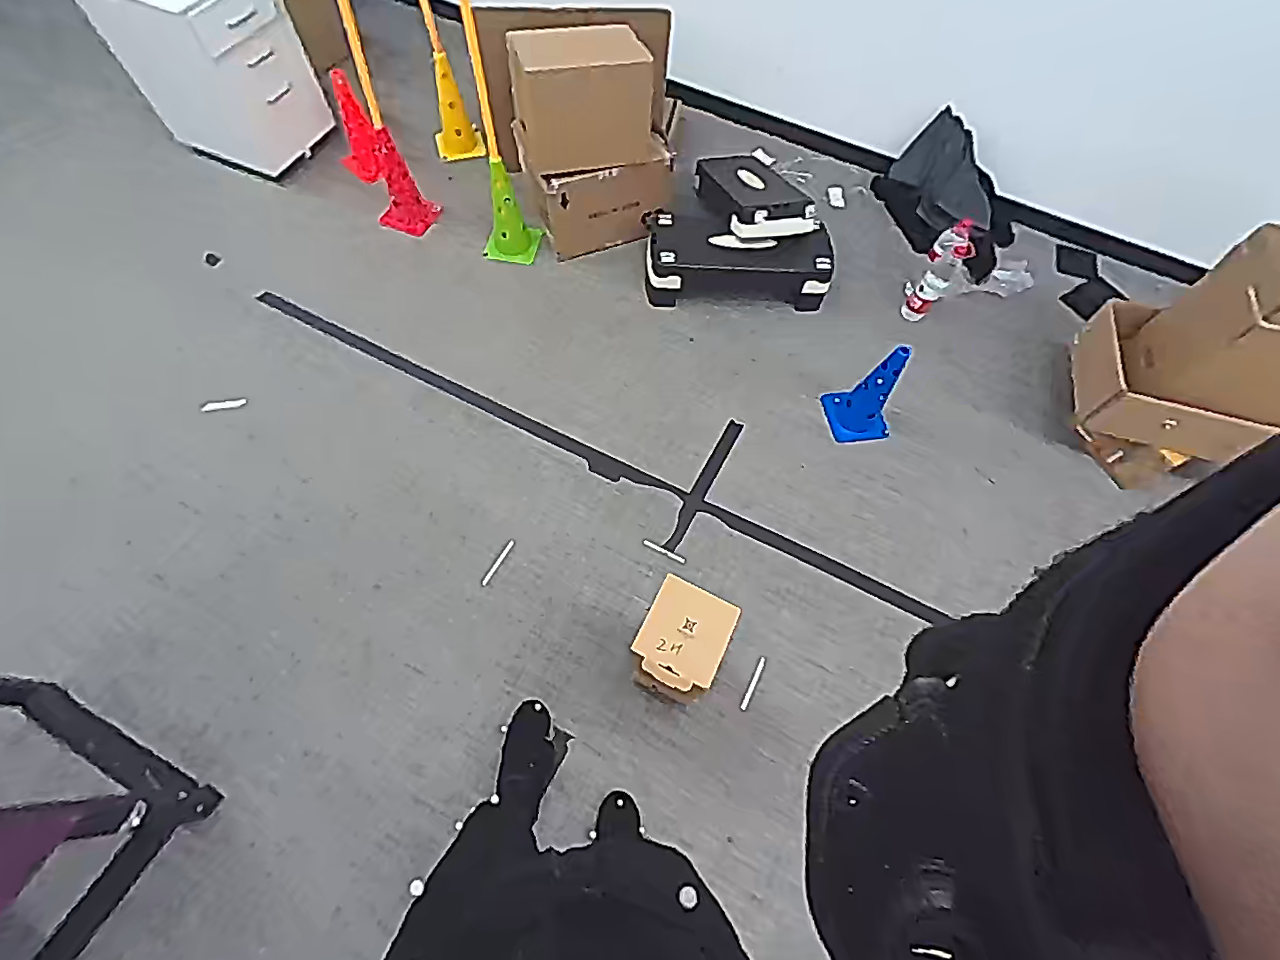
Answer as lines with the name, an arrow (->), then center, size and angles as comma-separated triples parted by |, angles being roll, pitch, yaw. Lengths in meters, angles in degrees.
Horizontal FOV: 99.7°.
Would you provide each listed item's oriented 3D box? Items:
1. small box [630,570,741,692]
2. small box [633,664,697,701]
small box -> 0.086, 0.318, 1.122 | 0.168, 0.176, 0.179 | 26, 66, 8
small box -> 0.090, 0.464, 1.420 | 0.168, 0.176, 0.179 | 23, 65, 8
